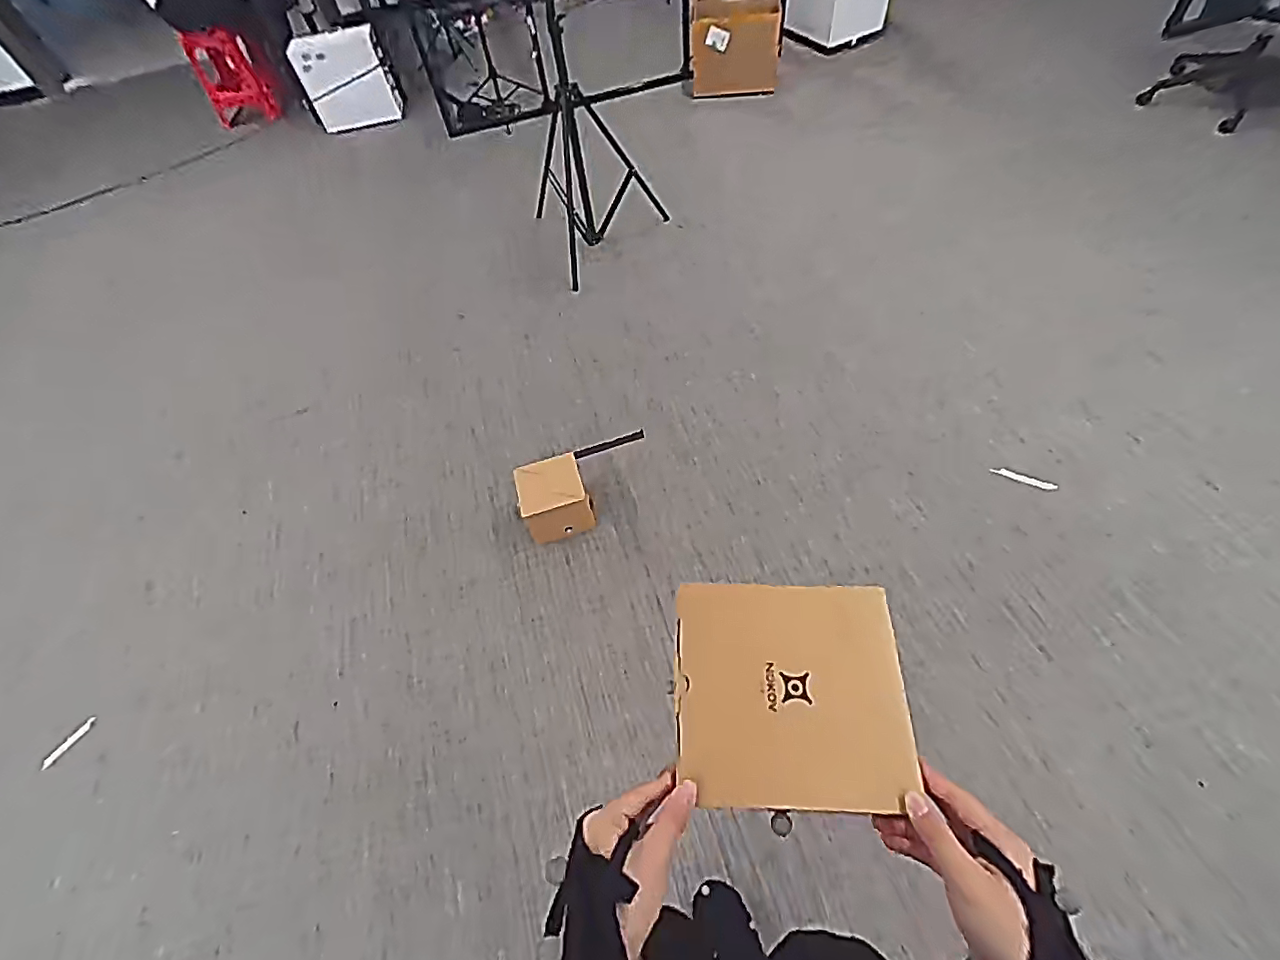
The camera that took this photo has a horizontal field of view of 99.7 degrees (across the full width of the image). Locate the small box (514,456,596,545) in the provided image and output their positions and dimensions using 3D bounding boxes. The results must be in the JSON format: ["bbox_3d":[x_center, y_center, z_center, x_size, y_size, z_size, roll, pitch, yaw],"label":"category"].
[{"bbox_3d":[-0.238,0.055,1.530,0.179,0.176,0.168,-16,56,-5],"label":"small box"}]

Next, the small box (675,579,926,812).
[{"bbox_3d":[0.121,0.196,0.489,0.179,0.176,0.168,0,60,4],"label":"small box"}]
